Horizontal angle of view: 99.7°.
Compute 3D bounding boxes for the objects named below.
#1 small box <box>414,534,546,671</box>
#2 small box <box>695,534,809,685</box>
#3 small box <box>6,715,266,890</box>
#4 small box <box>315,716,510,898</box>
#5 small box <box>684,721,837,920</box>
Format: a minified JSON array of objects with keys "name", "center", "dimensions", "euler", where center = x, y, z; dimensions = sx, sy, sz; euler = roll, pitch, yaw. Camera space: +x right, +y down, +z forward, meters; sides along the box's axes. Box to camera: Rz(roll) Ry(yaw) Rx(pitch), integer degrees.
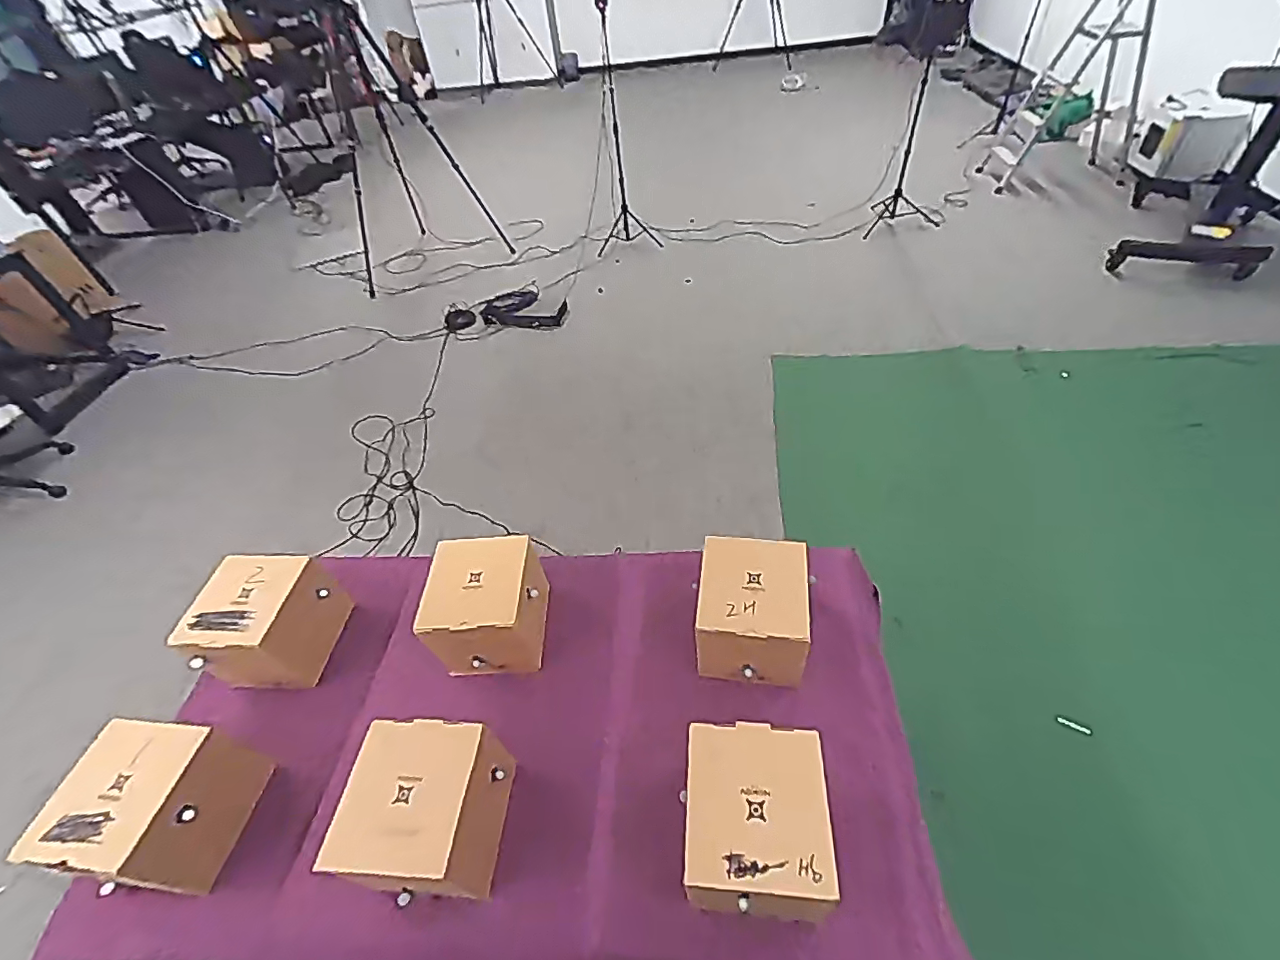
[{"name":"small box","center":[-0.267,0.216,0.950],"dimensions":[0.168,0.176,0.179],"euler":[-4,48,3]},{"name":"small box","center":[0.182,0.213,0.895],"dimensions":[0.168,0.176,0.179],"euler":[3,49,11]},{"name":"small box","center":[-0.688,0.460,0.770],"dimensions":[0.168,0.176,0.179],"euler":[2,46,8]},{"name":"small box","center":[-0.290,0.446,0.739],"dimensions":[0.168,0.176,0.179],"euler":[-1,47,7]},{"name":"small box","center":[0.144,0.435,0.694],"dimensions":[0.168,0.176,0.179],"euler":[0,45,8]}]
